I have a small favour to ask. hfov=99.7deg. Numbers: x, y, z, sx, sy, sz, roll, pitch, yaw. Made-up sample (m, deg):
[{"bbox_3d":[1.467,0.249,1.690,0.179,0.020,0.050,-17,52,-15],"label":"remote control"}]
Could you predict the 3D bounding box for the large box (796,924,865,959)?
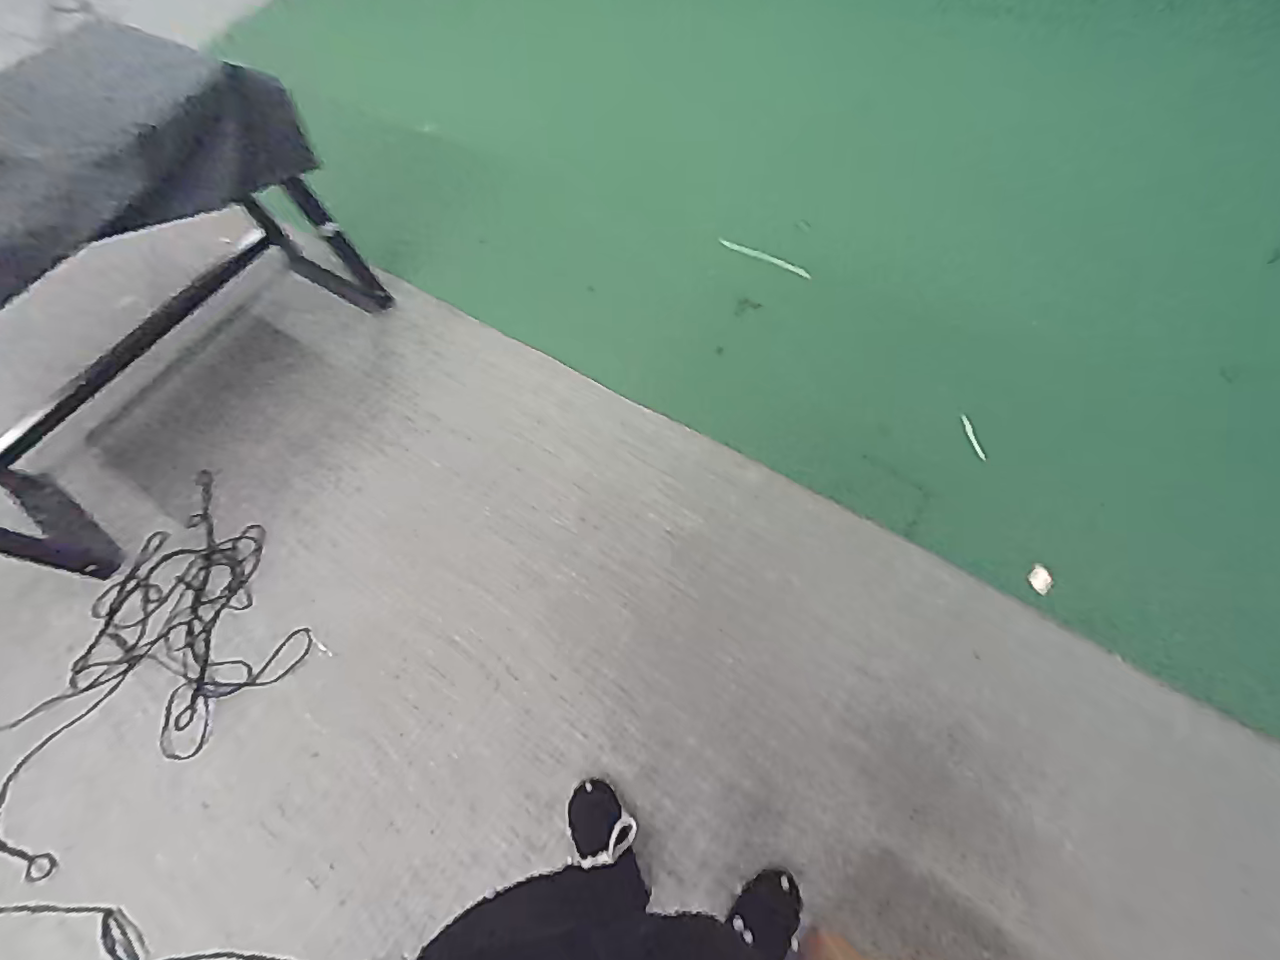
[{"bbox_3d":[0.321,0.976,0.760,0.320,0.320,0.408,29,73,21],"label":"large box"}]
